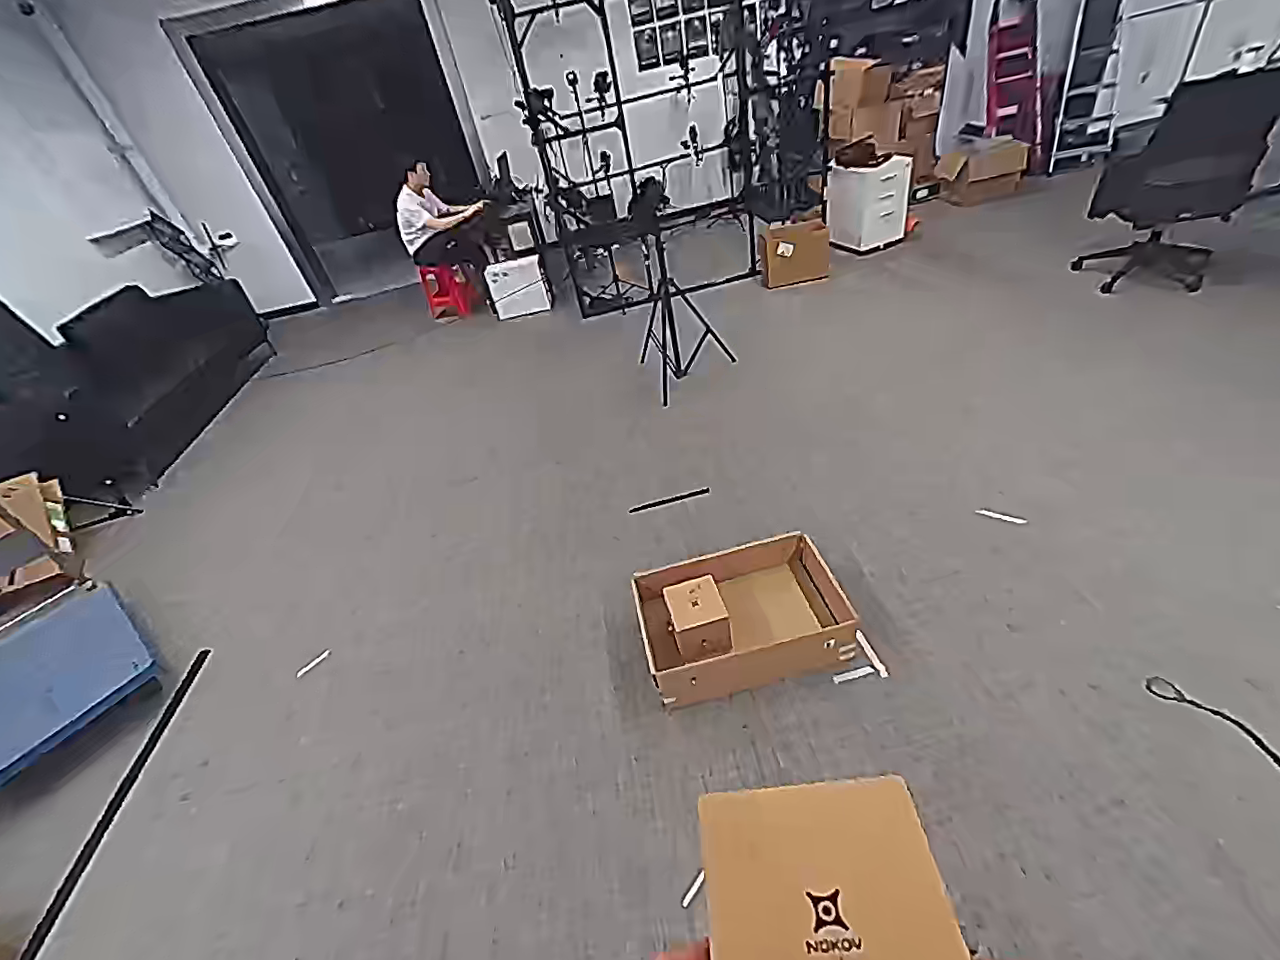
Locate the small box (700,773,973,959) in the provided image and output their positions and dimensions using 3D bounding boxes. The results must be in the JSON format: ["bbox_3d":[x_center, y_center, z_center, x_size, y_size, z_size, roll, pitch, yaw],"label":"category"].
[{"bbox_3d":[0.141,0.356,0.412,0.168,0.176,0.179,-9,37,6],"label":"small box"}]

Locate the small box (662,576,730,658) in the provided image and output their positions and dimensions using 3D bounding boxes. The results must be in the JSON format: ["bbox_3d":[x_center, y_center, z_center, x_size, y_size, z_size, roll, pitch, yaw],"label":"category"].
[{"bbox_3d":[0.180,0.439,1.712,0.168,0.176,0.179,-15,37,-4],"label":"small box"}]
